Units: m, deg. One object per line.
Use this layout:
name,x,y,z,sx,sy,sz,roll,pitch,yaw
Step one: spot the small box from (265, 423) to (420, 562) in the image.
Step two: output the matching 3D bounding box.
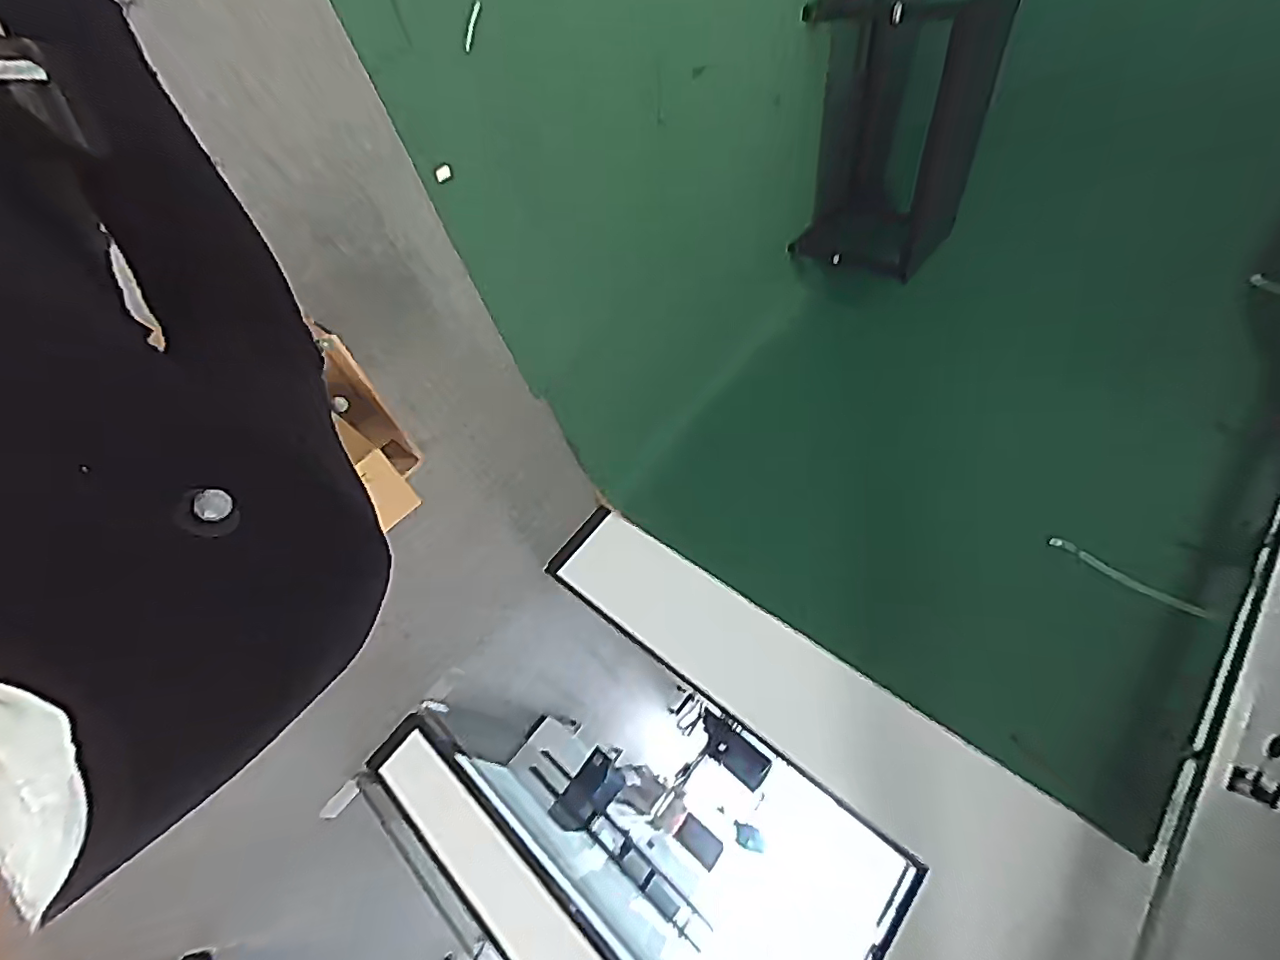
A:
small box,-0.576,0.020,1.055,0.168,0.176,0.179,-45,147,-23
